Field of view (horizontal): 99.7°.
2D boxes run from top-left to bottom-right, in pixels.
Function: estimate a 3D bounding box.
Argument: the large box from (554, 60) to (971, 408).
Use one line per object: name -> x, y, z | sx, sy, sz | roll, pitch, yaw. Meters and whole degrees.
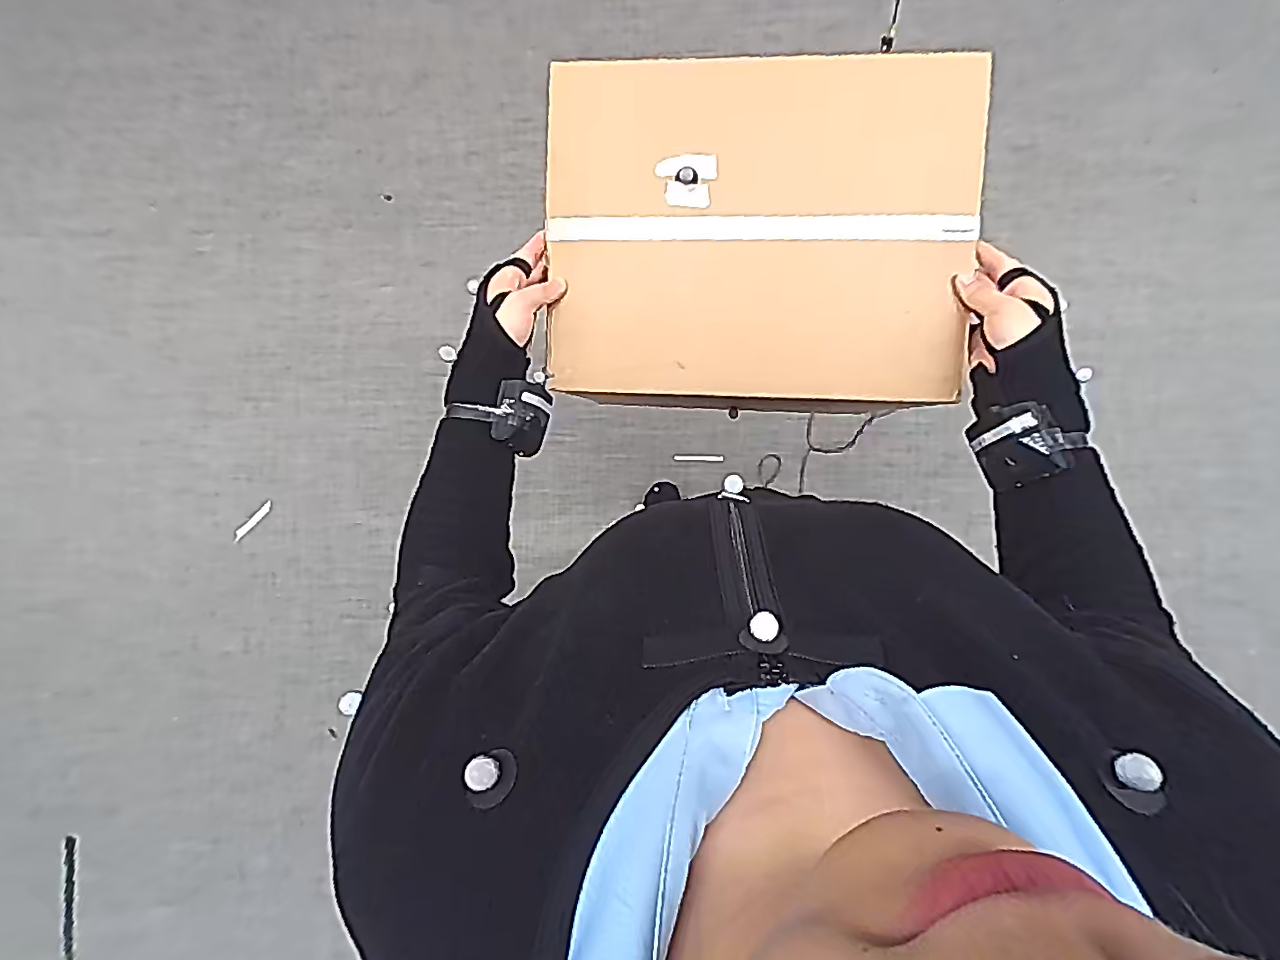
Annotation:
large box -> 0.126, -0.251, 0.678 | 0.408, 0.320, 0.320 | 2, 94, 6
